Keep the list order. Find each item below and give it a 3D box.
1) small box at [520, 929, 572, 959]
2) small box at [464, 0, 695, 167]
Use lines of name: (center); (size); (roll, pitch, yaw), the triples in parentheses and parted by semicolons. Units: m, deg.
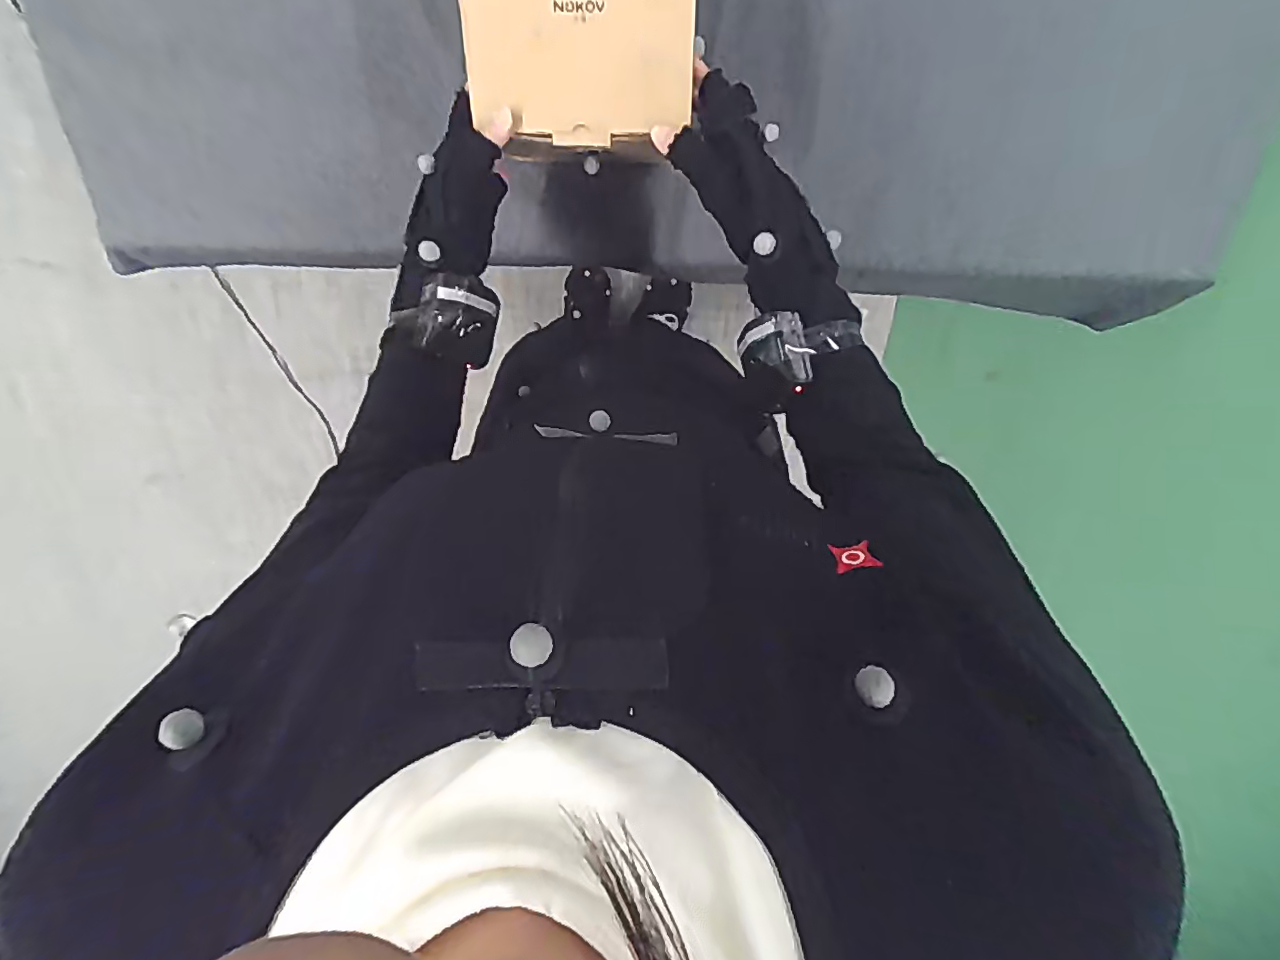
small box: (-0.346, 1.756, 1.940); (0.179, 0.176, 0.168); (9, 113, -2)
small box: (-0.040, -0.365, 0.451); (0.168, 0.176, 0.179); (0, 116, 1)
